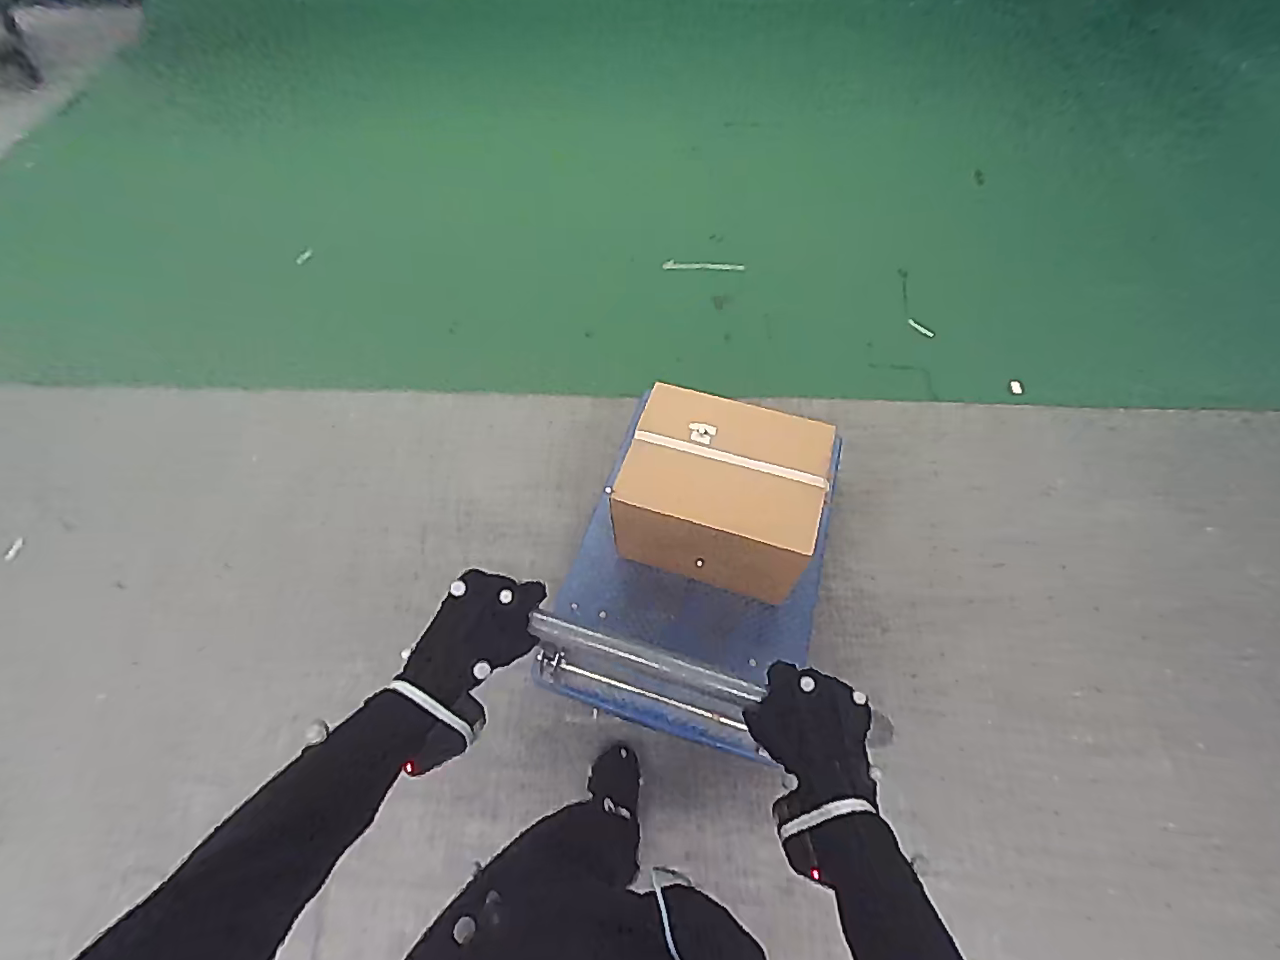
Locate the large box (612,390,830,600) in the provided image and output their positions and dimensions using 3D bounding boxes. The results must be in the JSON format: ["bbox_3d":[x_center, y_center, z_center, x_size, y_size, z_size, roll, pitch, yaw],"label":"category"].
[{"bbox_3d":[0.183,0.042,1.249,0.408,0.320,0.320,15,60,11],"label":"large box"}]
